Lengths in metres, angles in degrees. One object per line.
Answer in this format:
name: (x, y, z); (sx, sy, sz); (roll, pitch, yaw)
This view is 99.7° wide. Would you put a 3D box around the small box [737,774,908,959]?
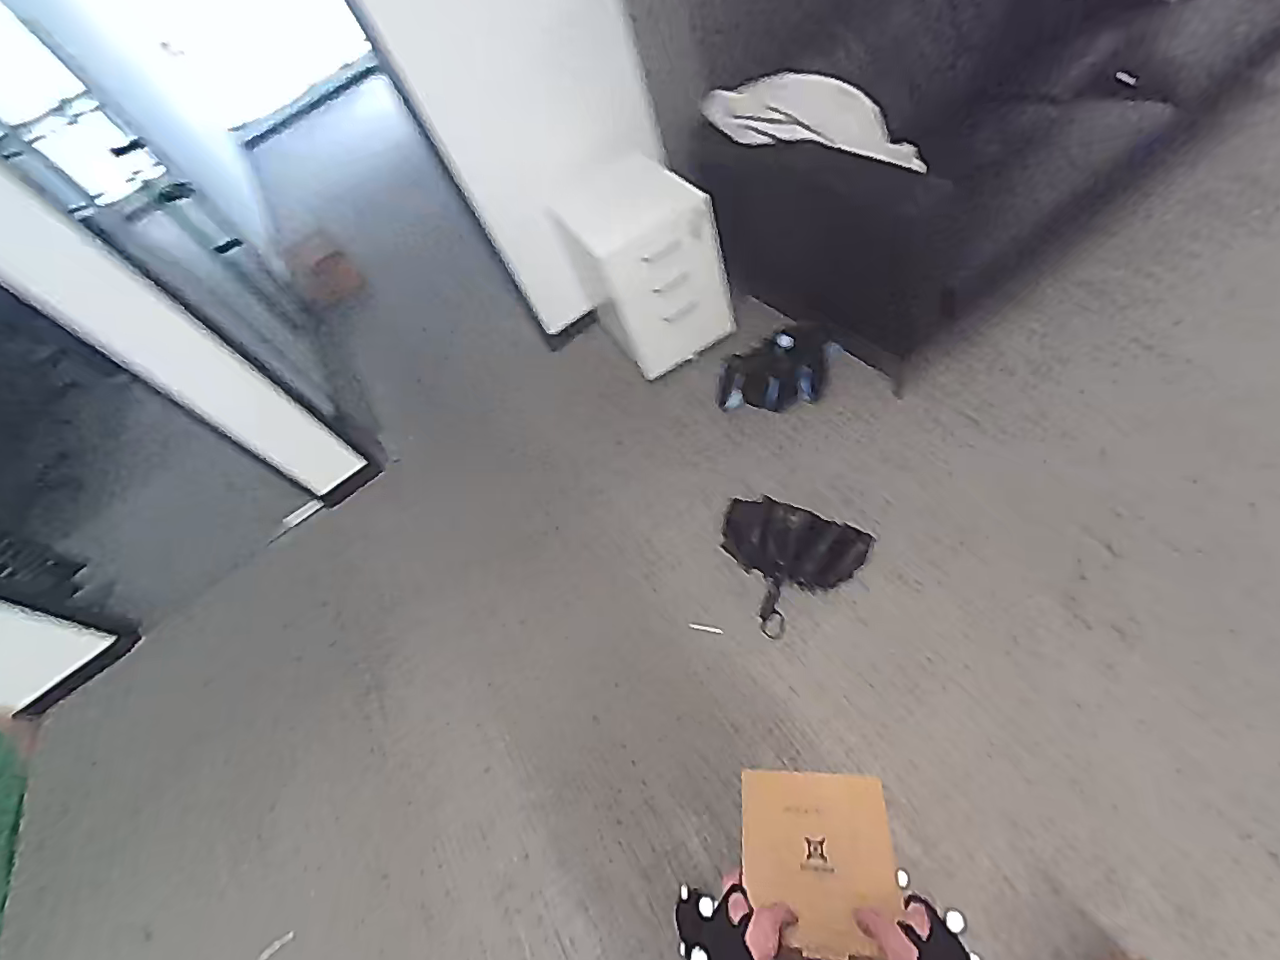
small box: (0.208, 0.481, 0.646); (0.168, 0.176, 0.179); (-6, 35, 12)
